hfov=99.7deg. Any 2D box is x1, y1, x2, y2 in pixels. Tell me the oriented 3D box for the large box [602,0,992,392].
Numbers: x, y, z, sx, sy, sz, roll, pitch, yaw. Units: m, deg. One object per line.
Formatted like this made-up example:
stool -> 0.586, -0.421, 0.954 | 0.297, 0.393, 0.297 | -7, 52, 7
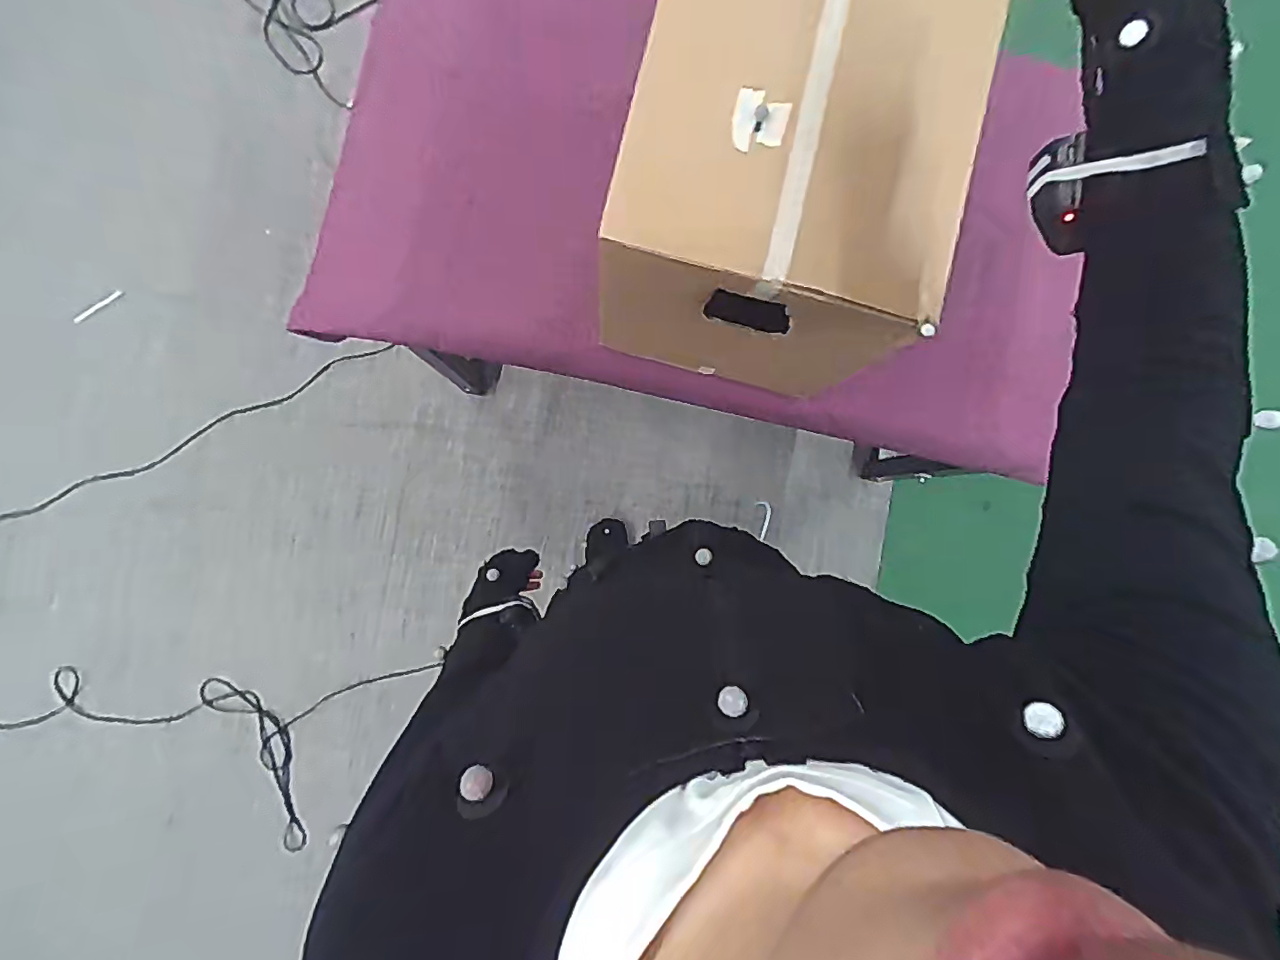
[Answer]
large box -> 0.149, -0.362, 0.651 | 0.320, 0.320, 0.408 | 14, 87, -3
